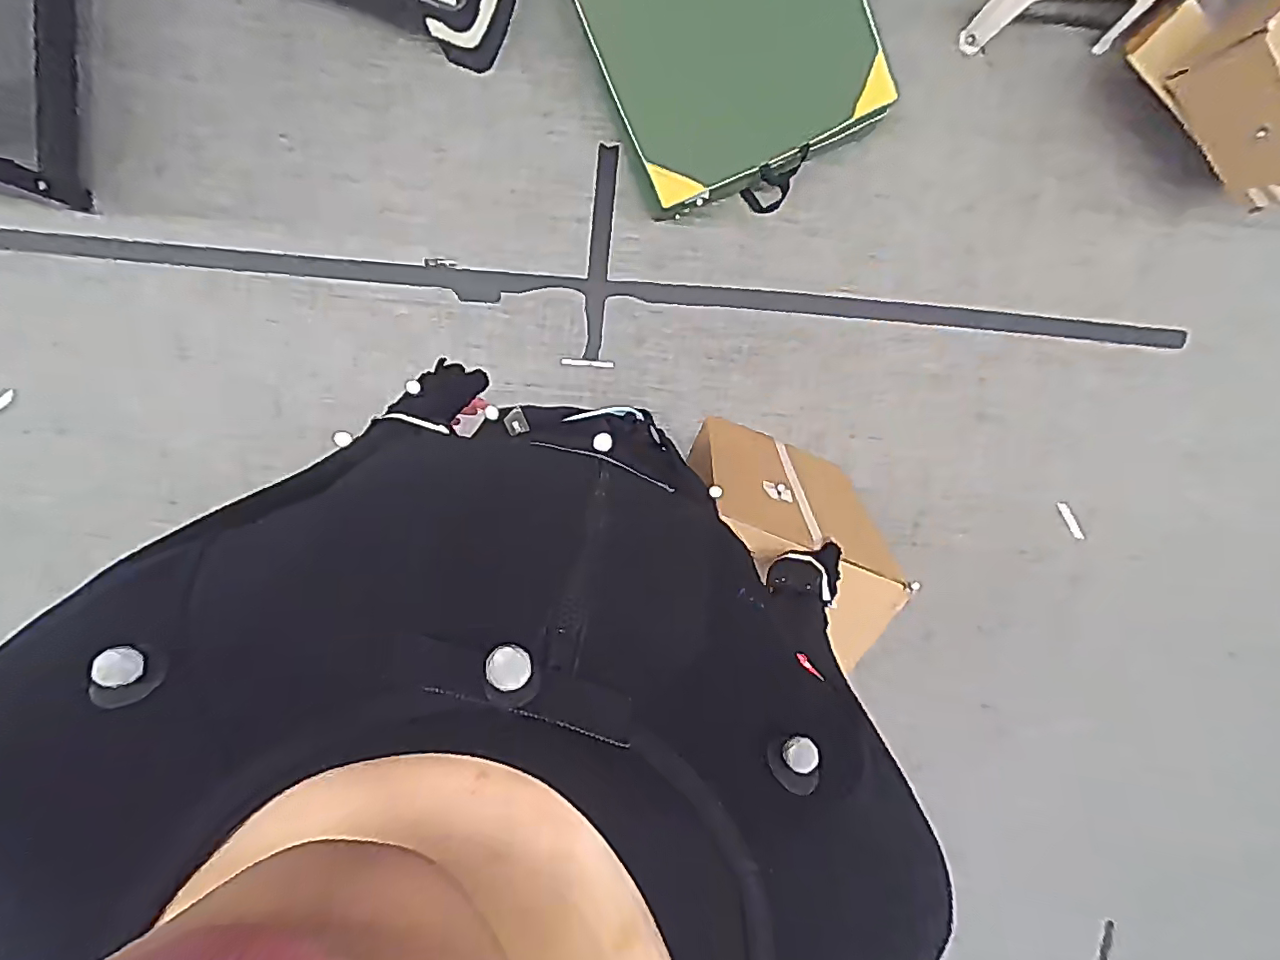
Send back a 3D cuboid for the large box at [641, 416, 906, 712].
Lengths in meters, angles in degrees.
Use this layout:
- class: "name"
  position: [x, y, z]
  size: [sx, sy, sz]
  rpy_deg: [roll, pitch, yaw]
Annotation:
- class: "large box"
  position: [0.207, 0.136, 1.013]
  size: [0.320, 0.408, 0.320]
  rpy_deg: [20, 118, -6]
